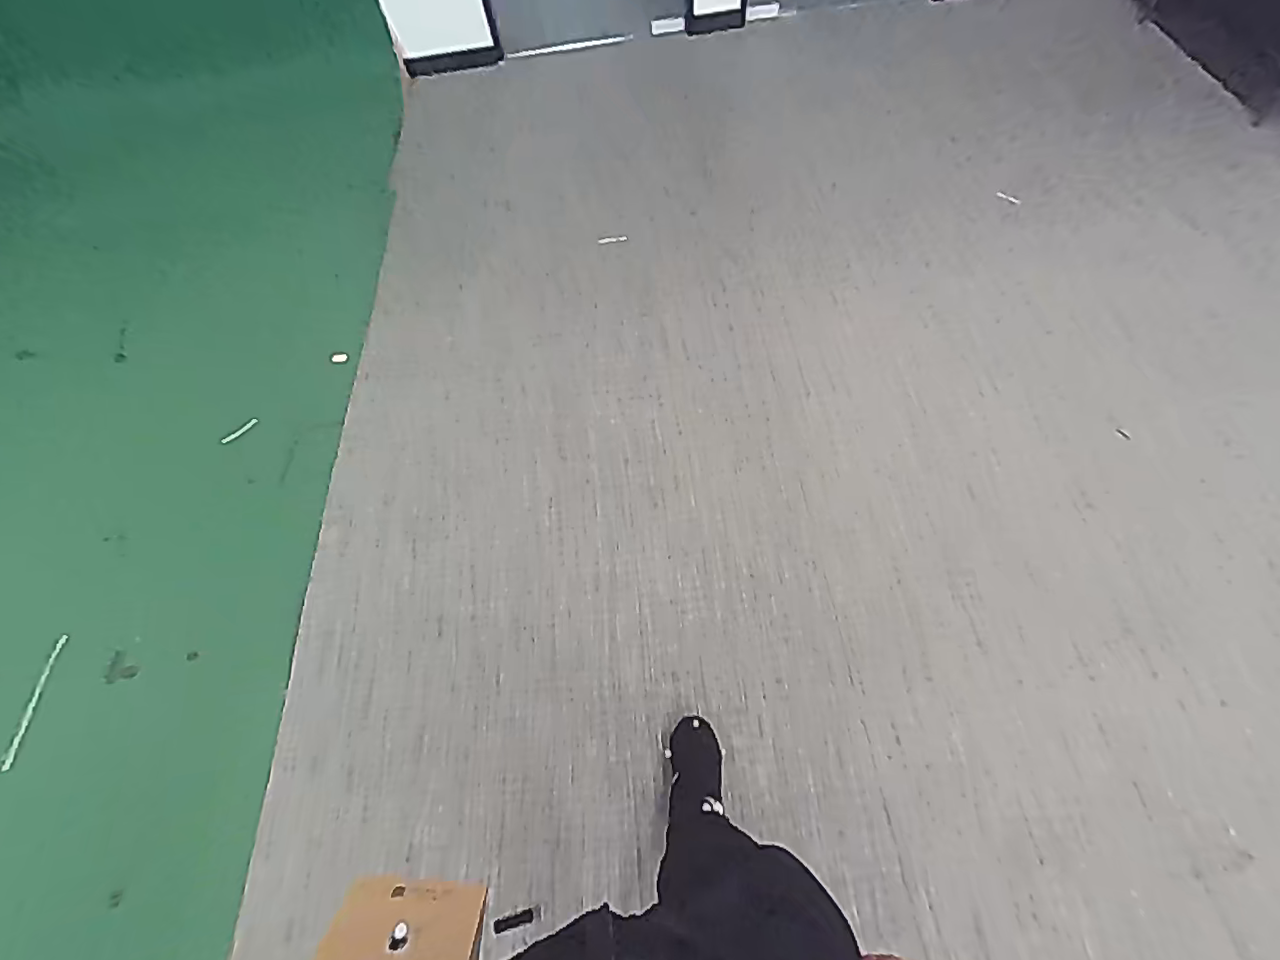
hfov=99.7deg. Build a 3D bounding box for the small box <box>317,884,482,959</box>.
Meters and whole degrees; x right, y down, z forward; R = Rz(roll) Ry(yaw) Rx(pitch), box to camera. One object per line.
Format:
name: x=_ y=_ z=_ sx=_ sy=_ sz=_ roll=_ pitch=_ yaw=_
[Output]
small box: x=-0.278 y=0.595 z=0.603 sx=0.168 sy=0.176 sz=0.179 roll=7 pitch=98 yaw=-7
